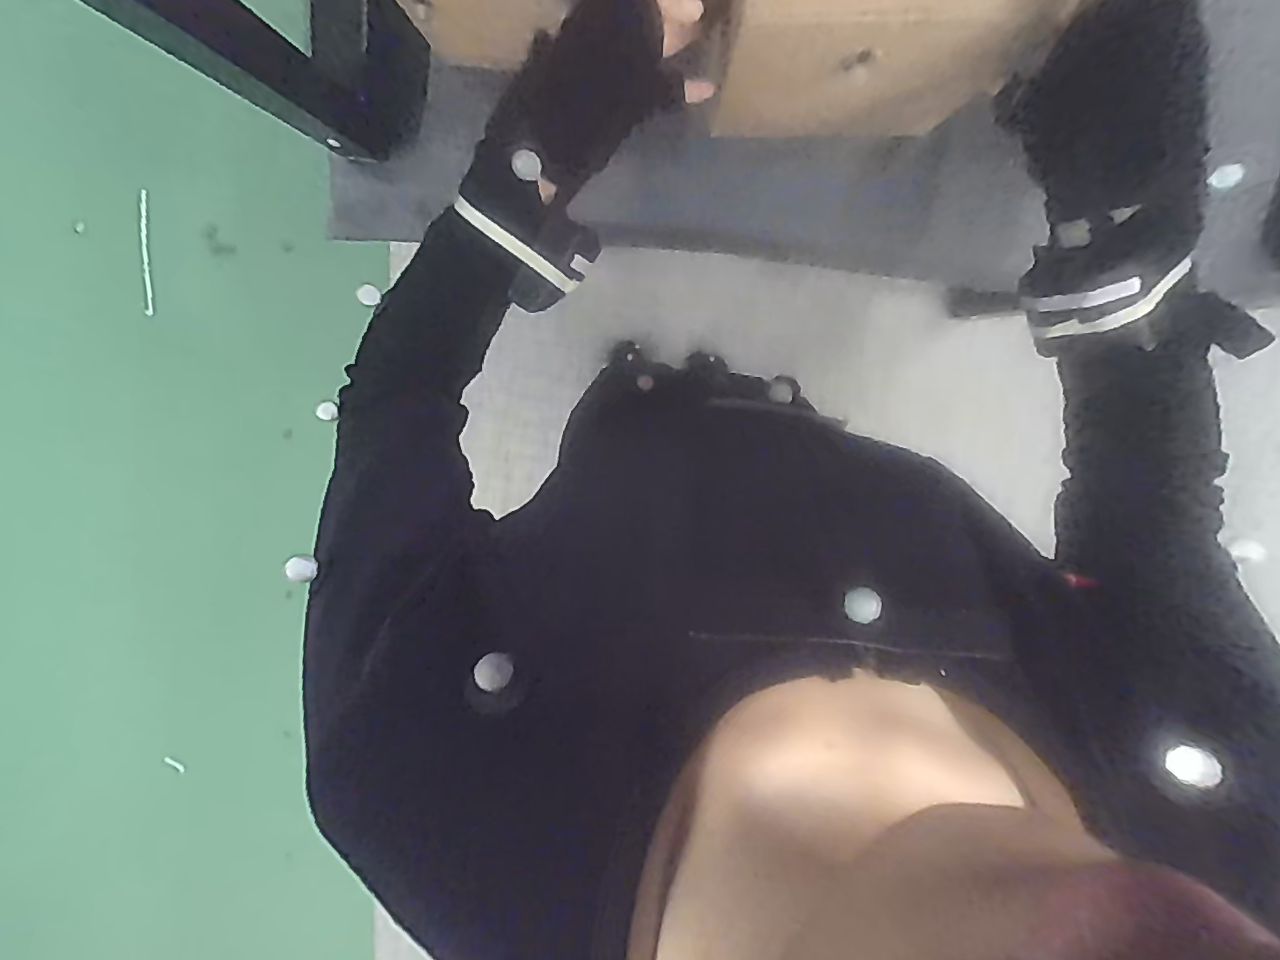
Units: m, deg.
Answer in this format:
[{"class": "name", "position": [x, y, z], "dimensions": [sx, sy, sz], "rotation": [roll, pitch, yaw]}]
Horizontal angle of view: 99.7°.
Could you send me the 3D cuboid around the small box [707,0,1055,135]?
[{"class": "small box", "position": [0.139, -0.346, 0.354], "dimensions": [0.179, 0.176, 0.168], "rotation": [0, 105, 1]}]
